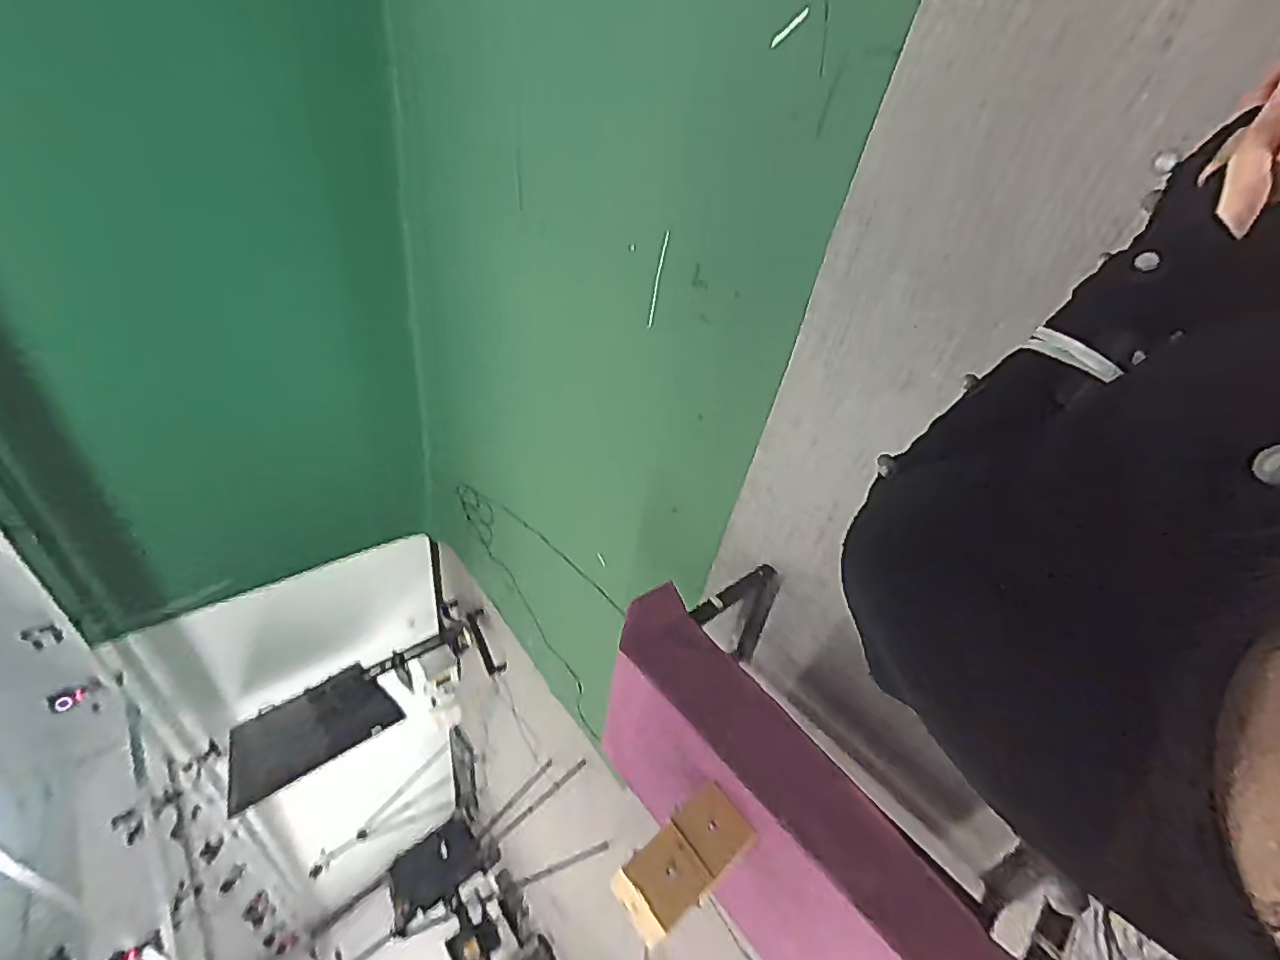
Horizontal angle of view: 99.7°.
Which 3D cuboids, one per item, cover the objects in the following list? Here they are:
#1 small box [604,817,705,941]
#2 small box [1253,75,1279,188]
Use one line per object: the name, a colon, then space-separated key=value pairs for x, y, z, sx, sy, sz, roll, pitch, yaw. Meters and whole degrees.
small box: x=0.037 y=0.987 z=1.348 sx=0.168 sy=0.176 sz=0.179 roll=44 pitch=136 yaw=29
small box: x=0.452 y=-0.253 z=0.259 sx=0.168 sy=0.176 sz=0.179 roll=19 pitch=106 yaw=37
